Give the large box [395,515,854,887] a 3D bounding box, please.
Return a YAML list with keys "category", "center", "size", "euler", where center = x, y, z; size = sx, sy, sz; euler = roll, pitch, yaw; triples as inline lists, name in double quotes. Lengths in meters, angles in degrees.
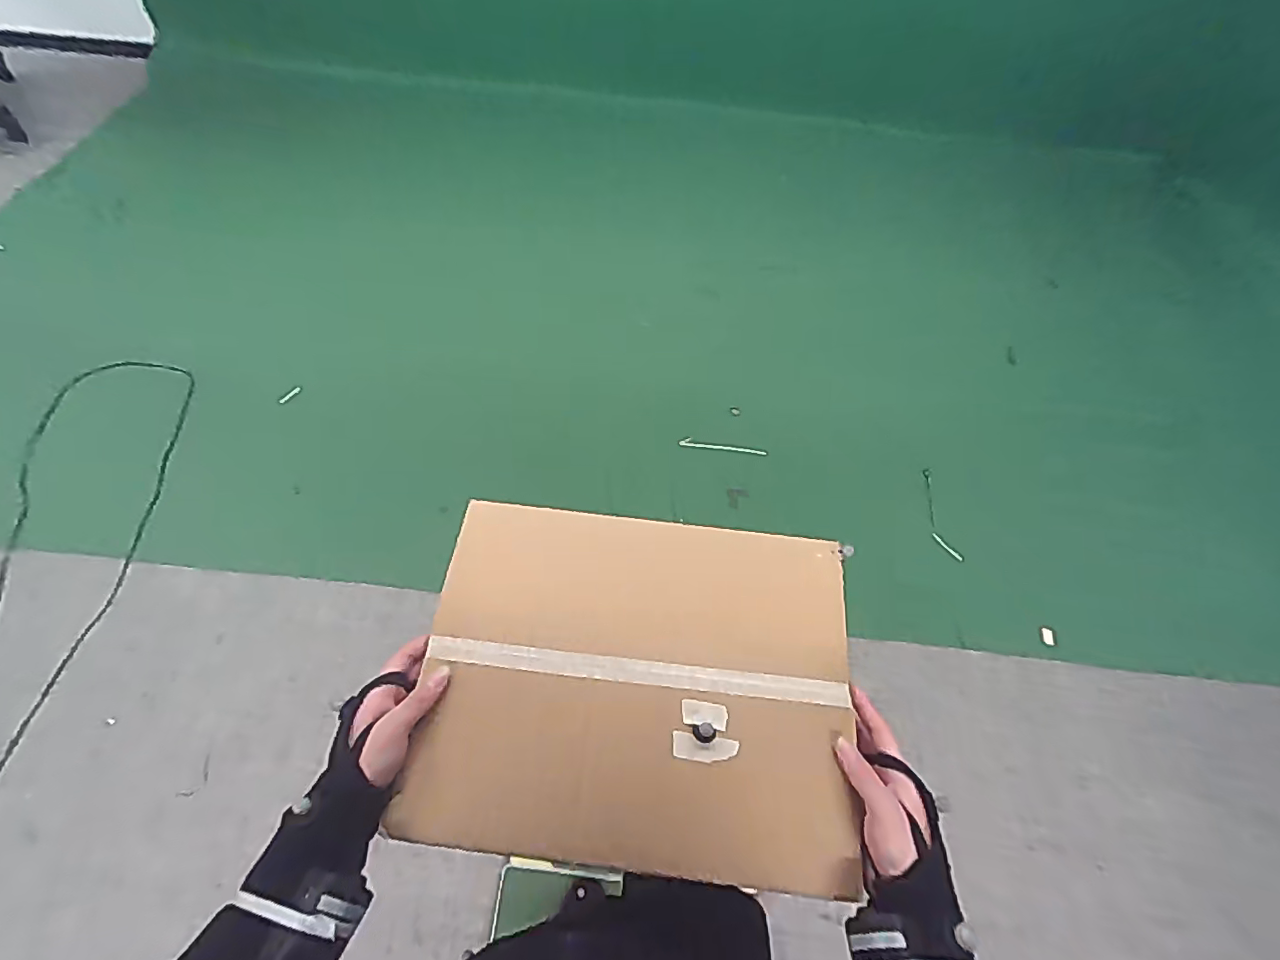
- category: "large box"
  center: [-0.007, 0.261, 0.659]
  size: [0.408, 0.320, 0.320]
  euler: [6, 63, 1]
